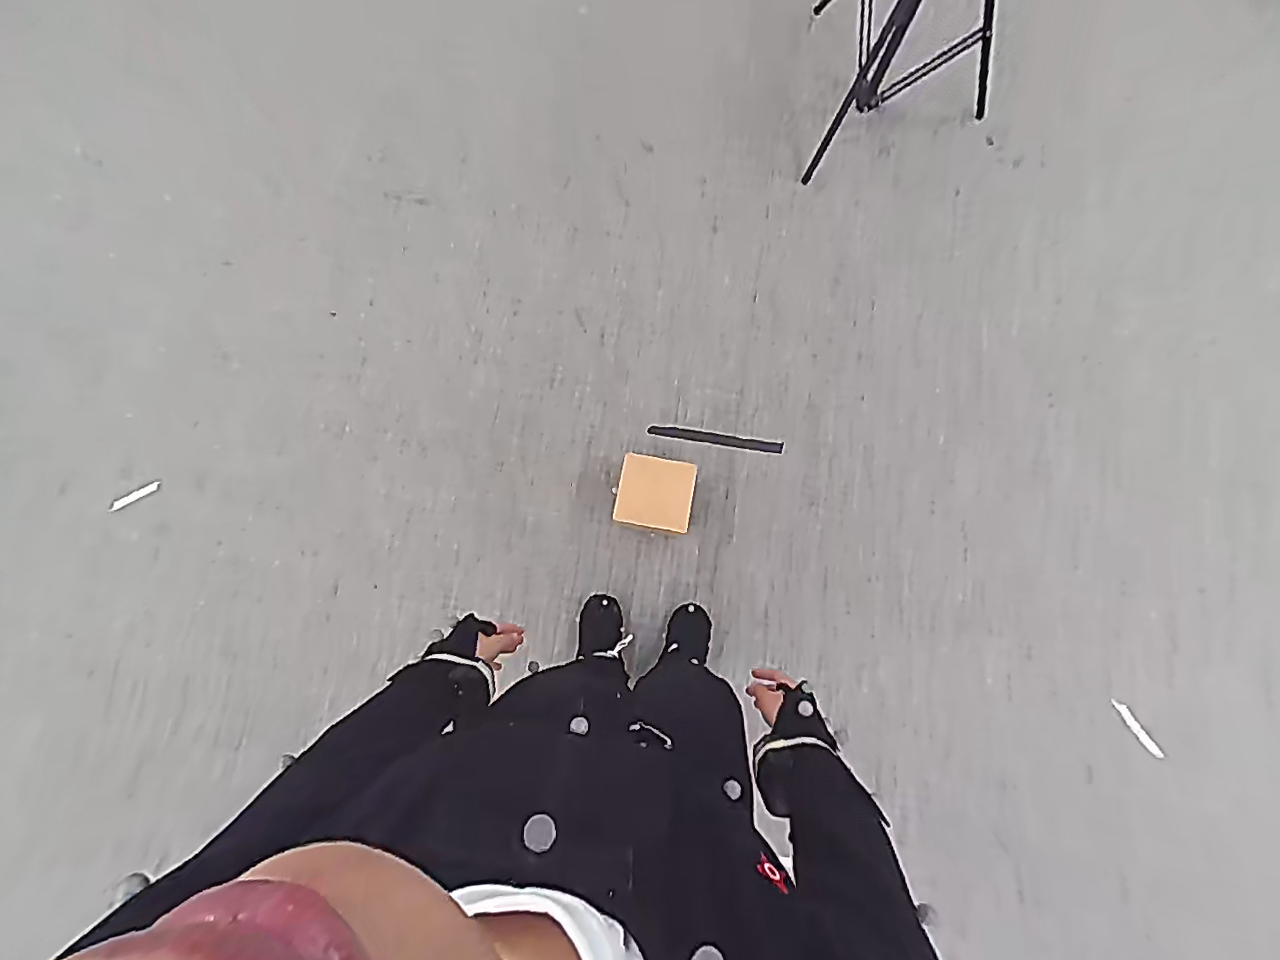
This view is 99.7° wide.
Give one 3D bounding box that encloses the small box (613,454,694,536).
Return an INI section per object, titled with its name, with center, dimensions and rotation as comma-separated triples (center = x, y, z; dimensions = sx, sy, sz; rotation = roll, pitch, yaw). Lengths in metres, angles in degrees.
[small box]
center = 0.035, 0.042, 1.337
dimensions = 0.179, 0.176, 0.168
rotation = 11, 80, 1
